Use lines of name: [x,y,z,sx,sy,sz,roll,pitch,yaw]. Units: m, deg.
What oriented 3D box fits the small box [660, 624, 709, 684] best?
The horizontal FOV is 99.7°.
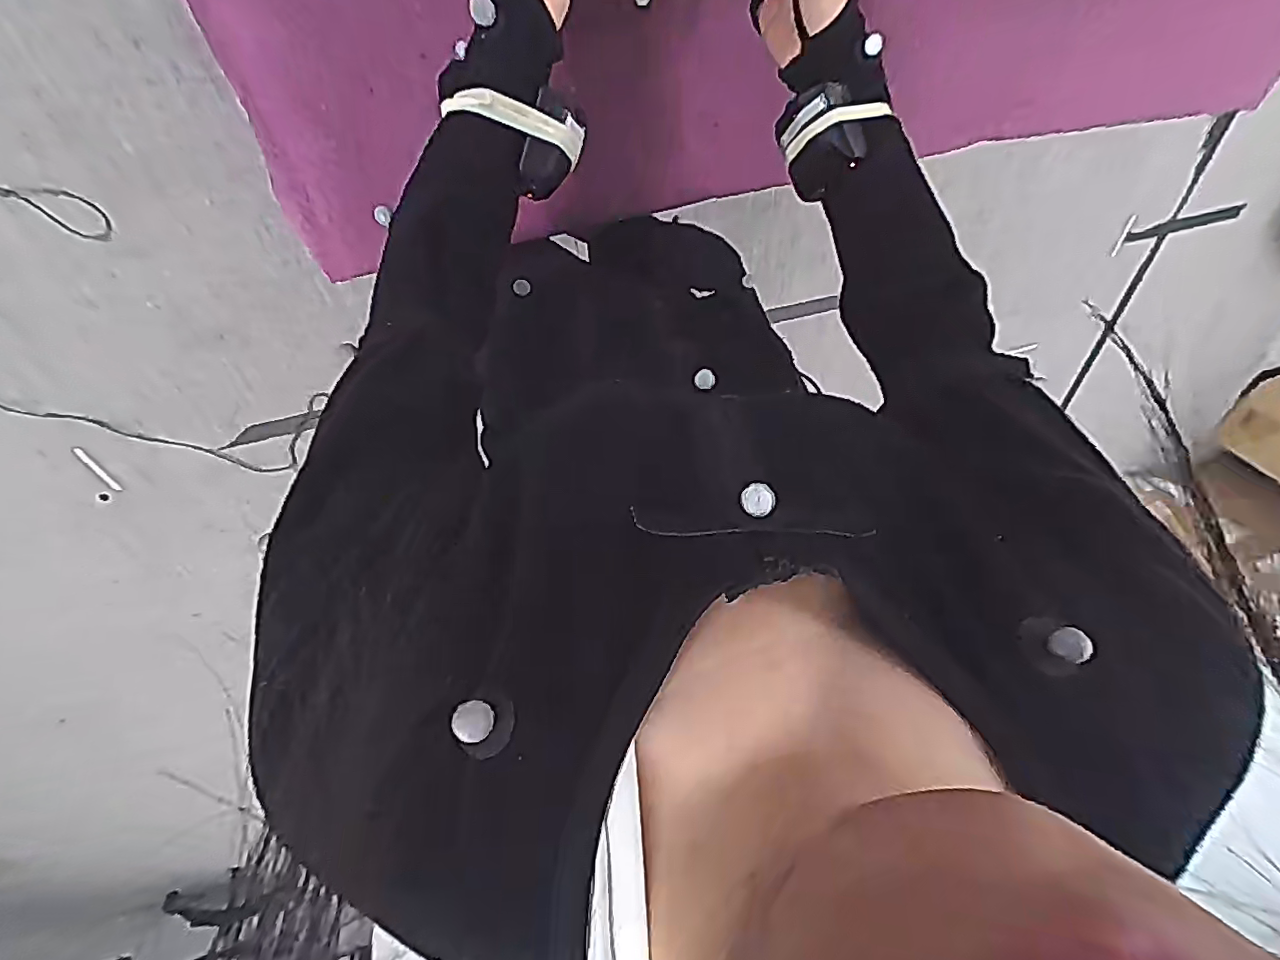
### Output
small box: [0.196,0.766,2.383,0.168,0.176,0.179,-19,137,-5]
